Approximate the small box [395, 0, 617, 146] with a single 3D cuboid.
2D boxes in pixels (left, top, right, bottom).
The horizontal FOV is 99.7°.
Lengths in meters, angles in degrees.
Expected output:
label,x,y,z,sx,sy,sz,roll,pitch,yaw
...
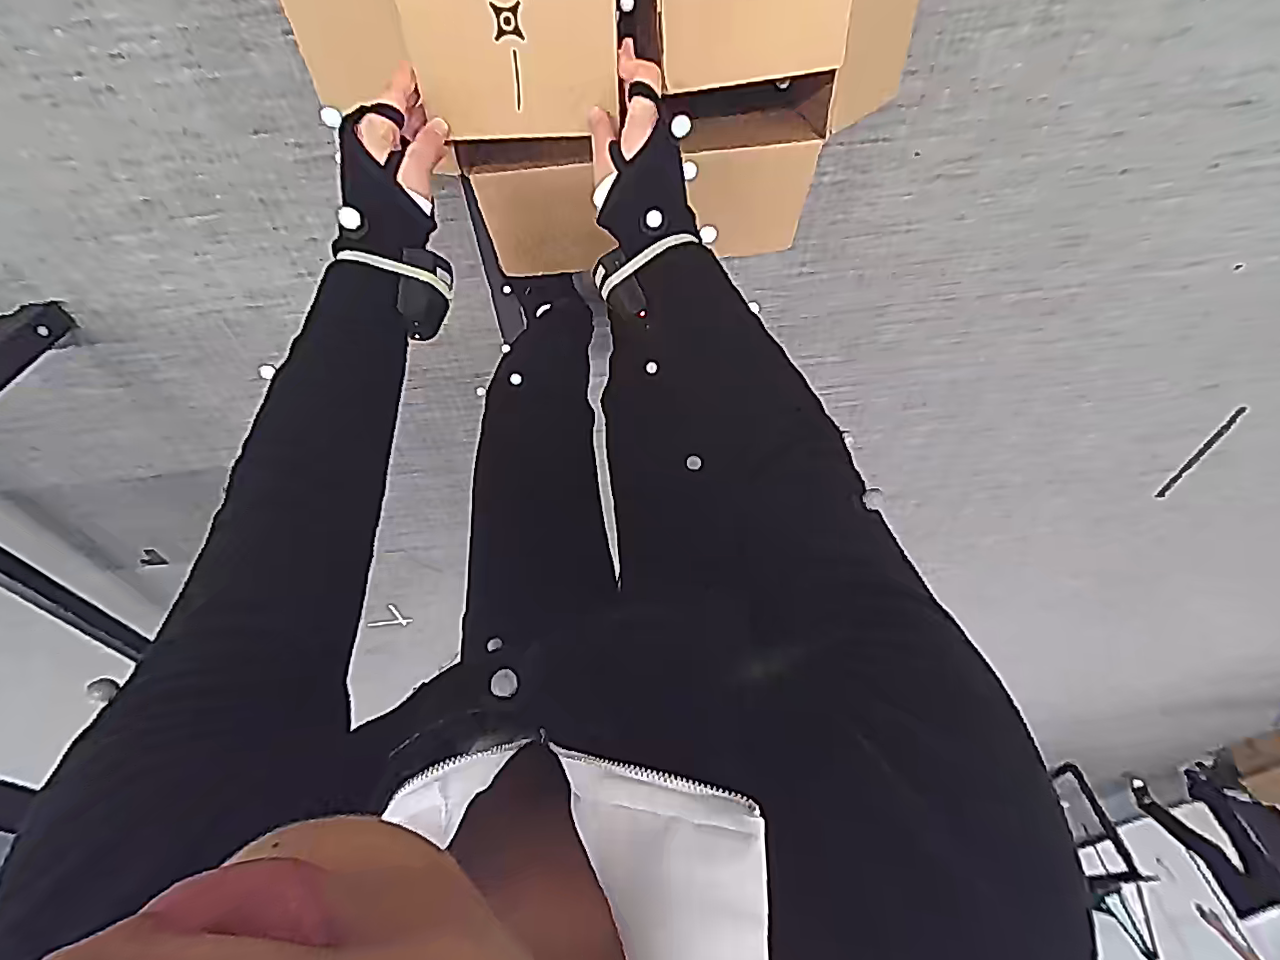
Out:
label,x,y,z,sx,sy,sz,roll,pitch,yaw
small box,-0.107,-0.414,0.468,0.168,0.176,0.179,-2,138,-1
